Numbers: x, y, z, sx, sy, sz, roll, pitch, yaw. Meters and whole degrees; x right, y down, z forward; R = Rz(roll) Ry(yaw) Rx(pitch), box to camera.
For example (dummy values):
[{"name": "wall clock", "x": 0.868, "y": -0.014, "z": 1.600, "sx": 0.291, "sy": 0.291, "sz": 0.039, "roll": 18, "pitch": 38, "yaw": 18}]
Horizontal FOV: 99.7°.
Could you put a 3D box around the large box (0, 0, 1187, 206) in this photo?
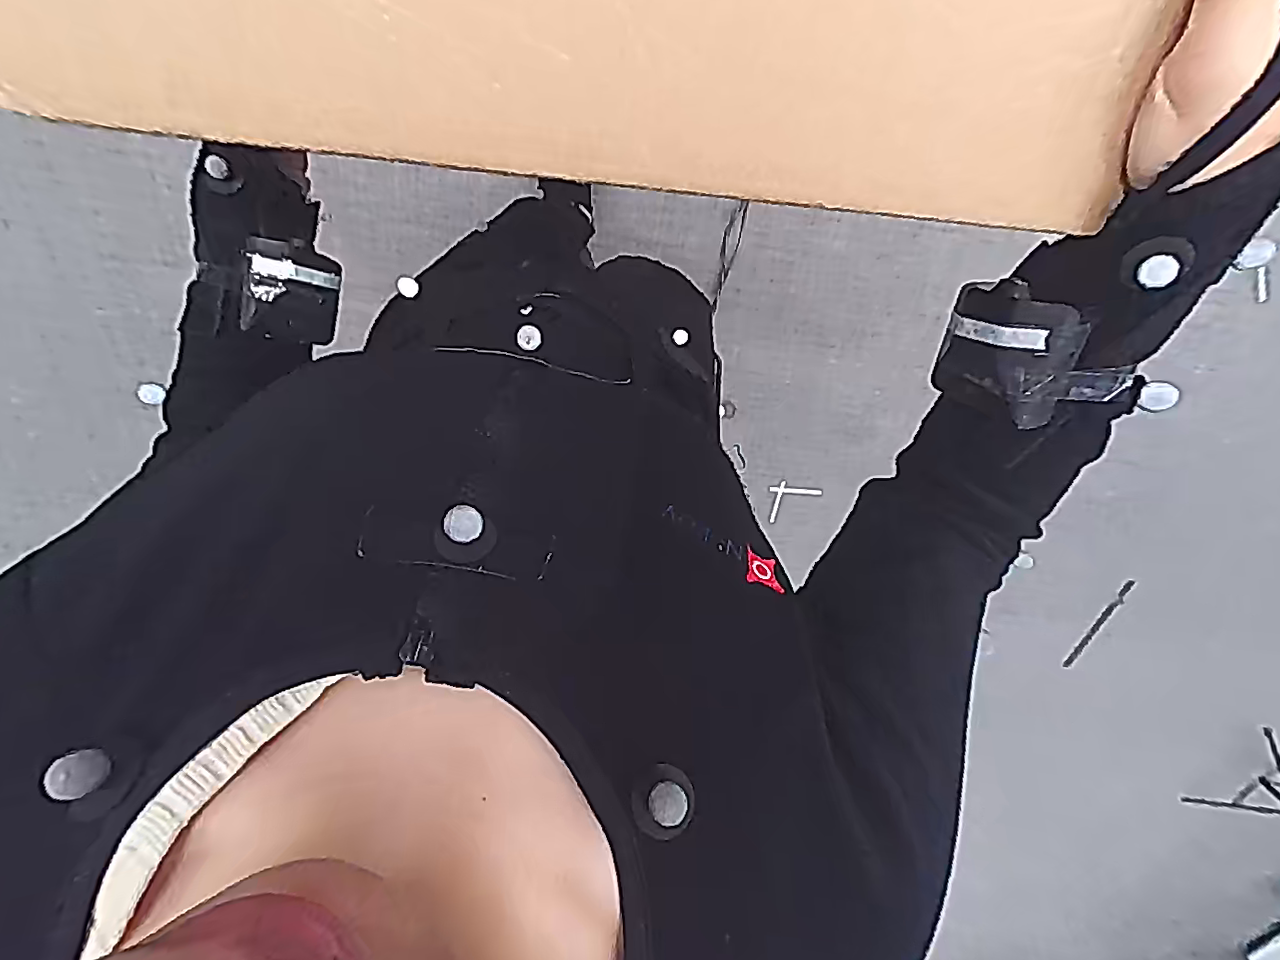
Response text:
[{"name": "large box", "x": -0.009, "y": -0.331, "z": 0.240, "sx": 0.408, "sy": 0.320, "sz": 0.320, "roll": 1, "pitch": 127, "yaw": -8}]
